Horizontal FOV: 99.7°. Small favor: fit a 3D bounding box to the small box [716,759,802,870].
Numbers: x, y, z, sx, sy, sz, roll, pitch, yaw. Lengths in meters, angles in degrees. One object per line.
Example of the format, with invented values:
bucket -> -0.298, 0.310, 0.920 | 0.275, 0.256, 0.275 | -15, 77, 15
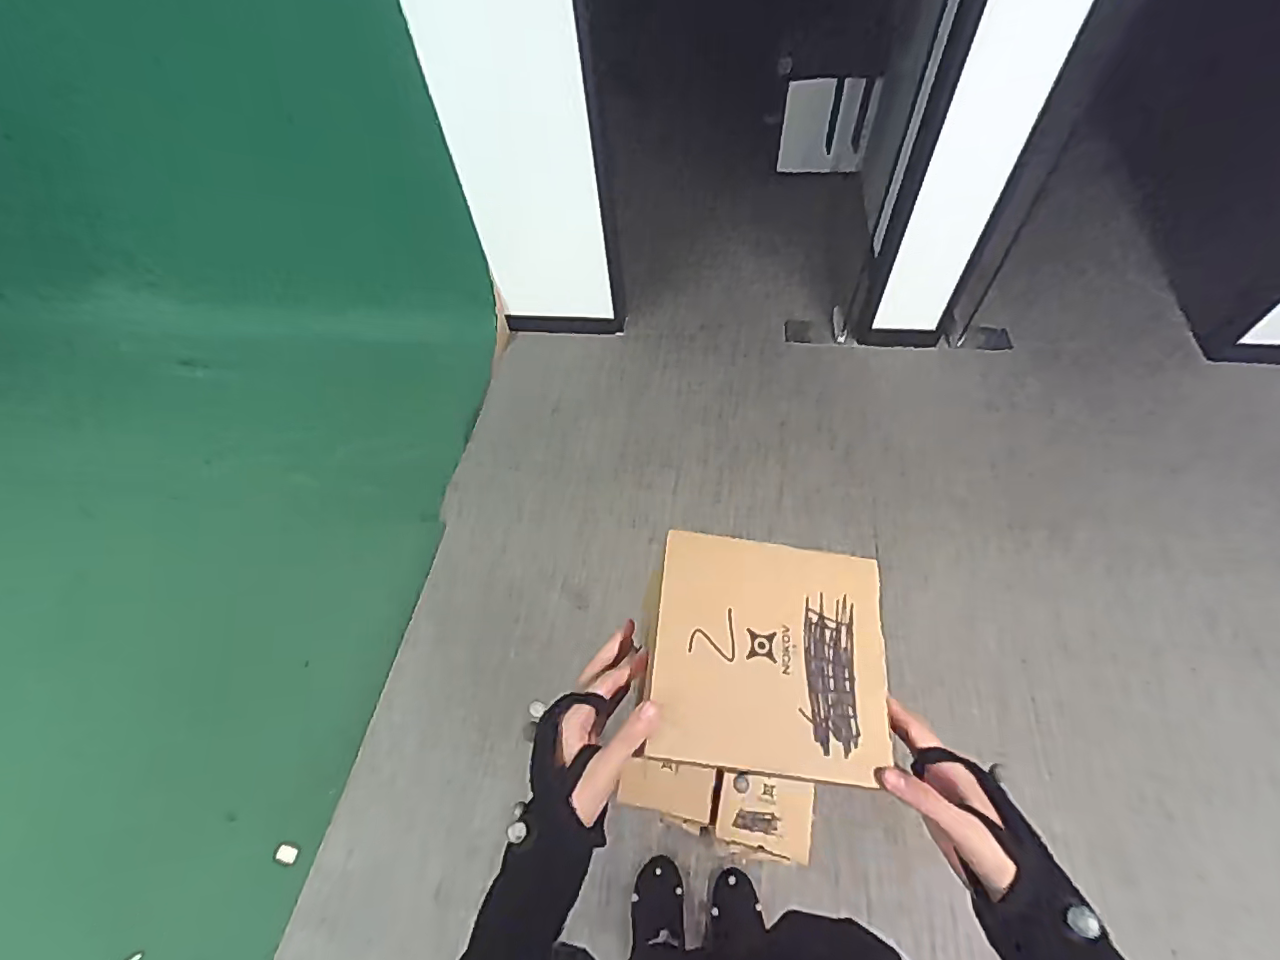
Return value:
small box -> 0.256, 0.729, 1.181 | 0.168, 0.176, 0.179 | 5, 57, 9
